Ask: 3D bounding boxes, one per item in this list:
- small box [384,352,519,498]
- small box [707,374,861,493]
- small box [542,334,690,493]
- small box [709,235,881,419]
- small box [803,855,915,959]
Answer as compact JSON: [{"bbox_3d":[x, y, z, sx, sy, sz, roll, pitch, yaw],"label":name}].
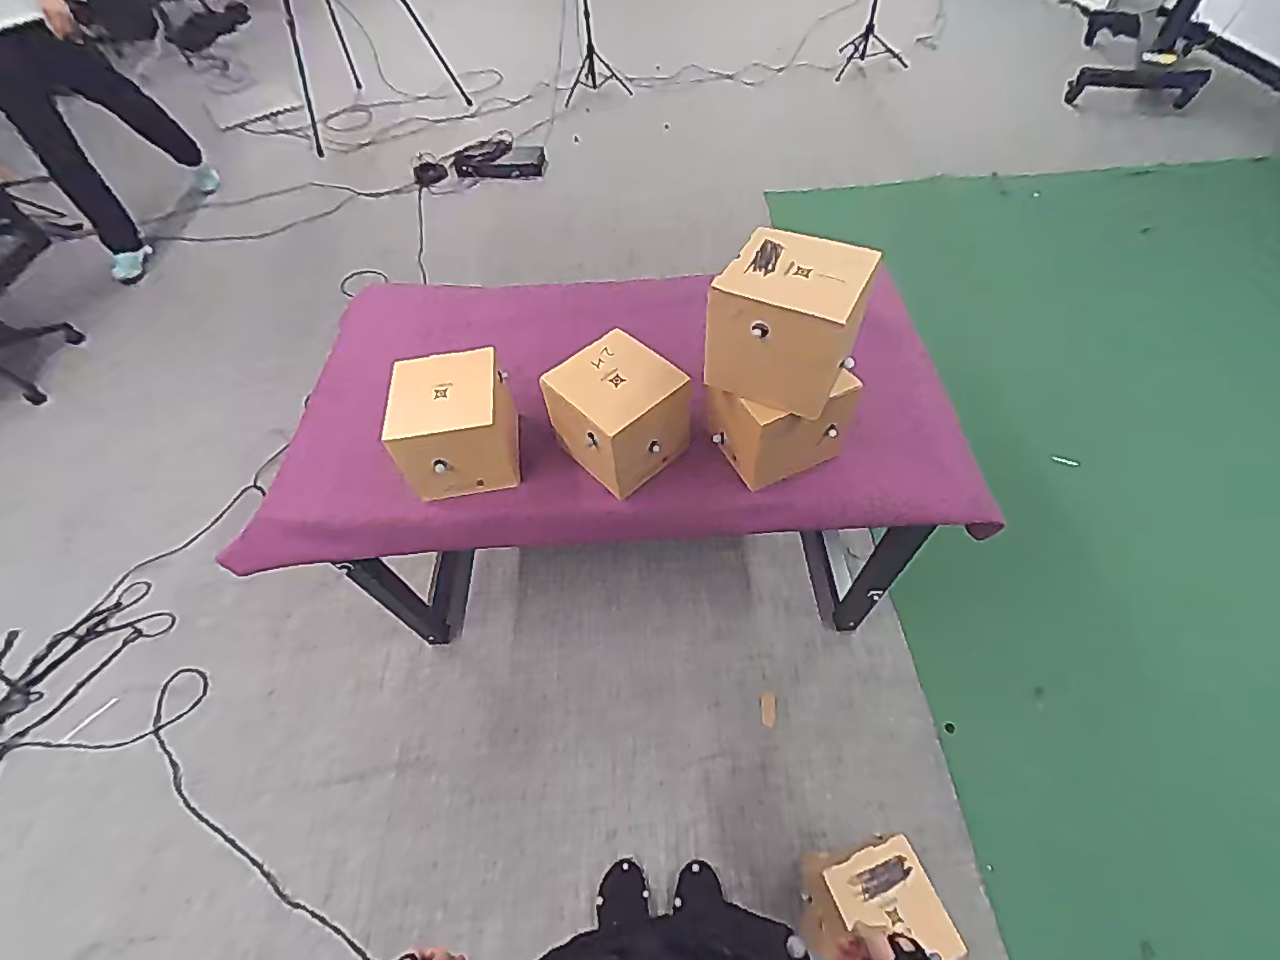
[{"bbox_3d":[-0.302,-0.084,0.905,0.168,0.176,0.179,-9,53,-3],"label":"small box"},{"bbox_3d":[0.222,-0.109,0.888,0.179,0.176,0.168,-22,54,-11],"label":"small box"},{"bbox_3d":[-0.034,-0.102,0.897,0.168,0.176,0.179,-37,60,-22],"label":"small box"},{"bbox_3d":[0.207,-0.212,0.762,0.179,0.176,0.168,23,58,20],"label":"small box"},{"bbox_3d":[0.426,0.867,1.082,0.179,0.176,0.168,5,56,8],"label":"small box"}]
